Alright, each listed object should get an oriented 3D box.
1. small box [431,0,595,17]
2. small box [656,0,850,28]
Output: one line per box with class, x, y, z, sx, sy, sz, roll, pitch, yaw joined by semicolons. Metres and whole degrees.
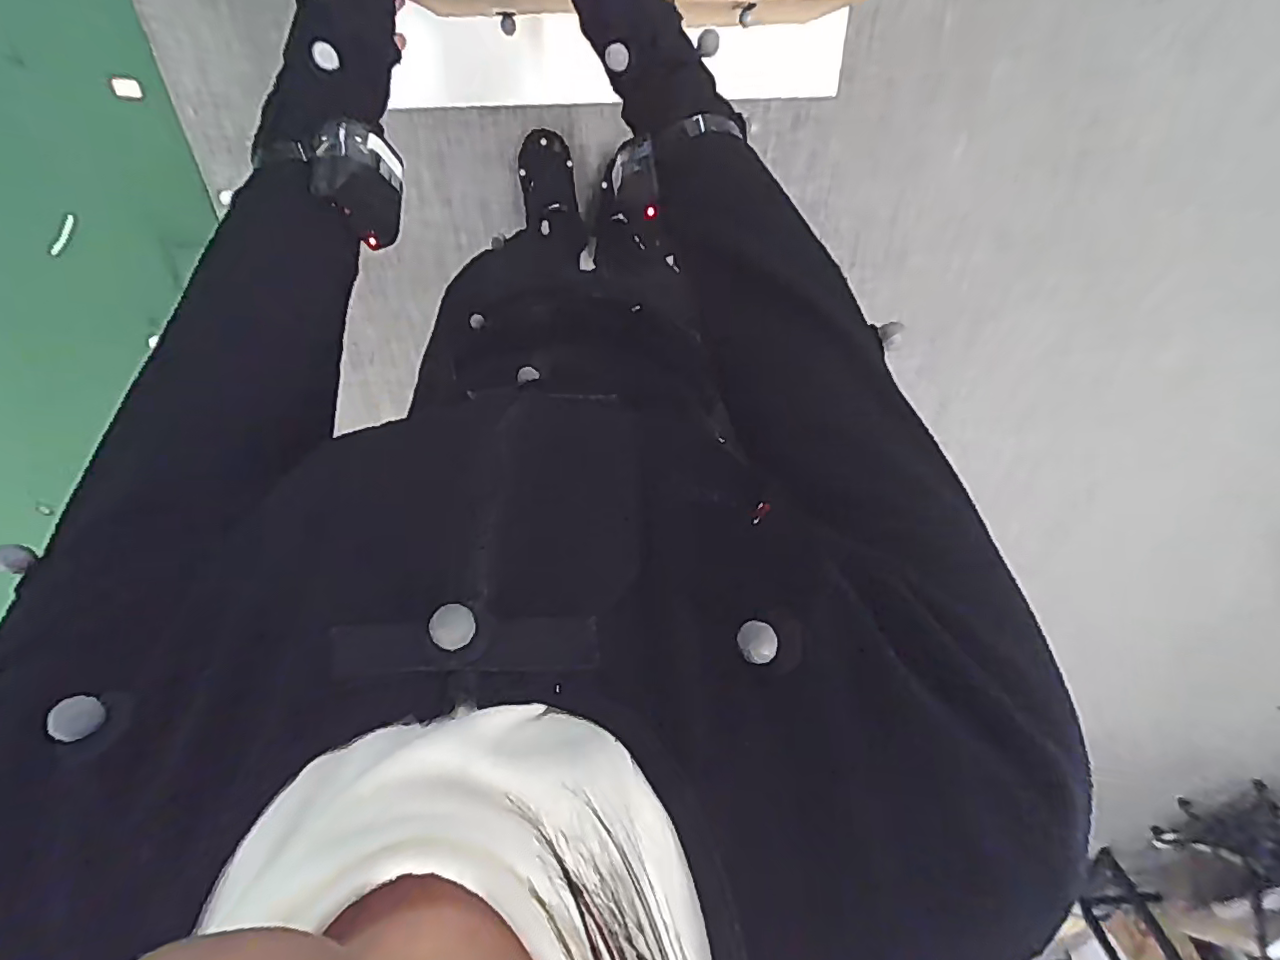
small box;-0.120;-0.500;0.433;0.168;0.176;0.179;-5;127;1
small box;0.098;-0.508;0.455;0.168;0.176;0.179;-3;124;-1
